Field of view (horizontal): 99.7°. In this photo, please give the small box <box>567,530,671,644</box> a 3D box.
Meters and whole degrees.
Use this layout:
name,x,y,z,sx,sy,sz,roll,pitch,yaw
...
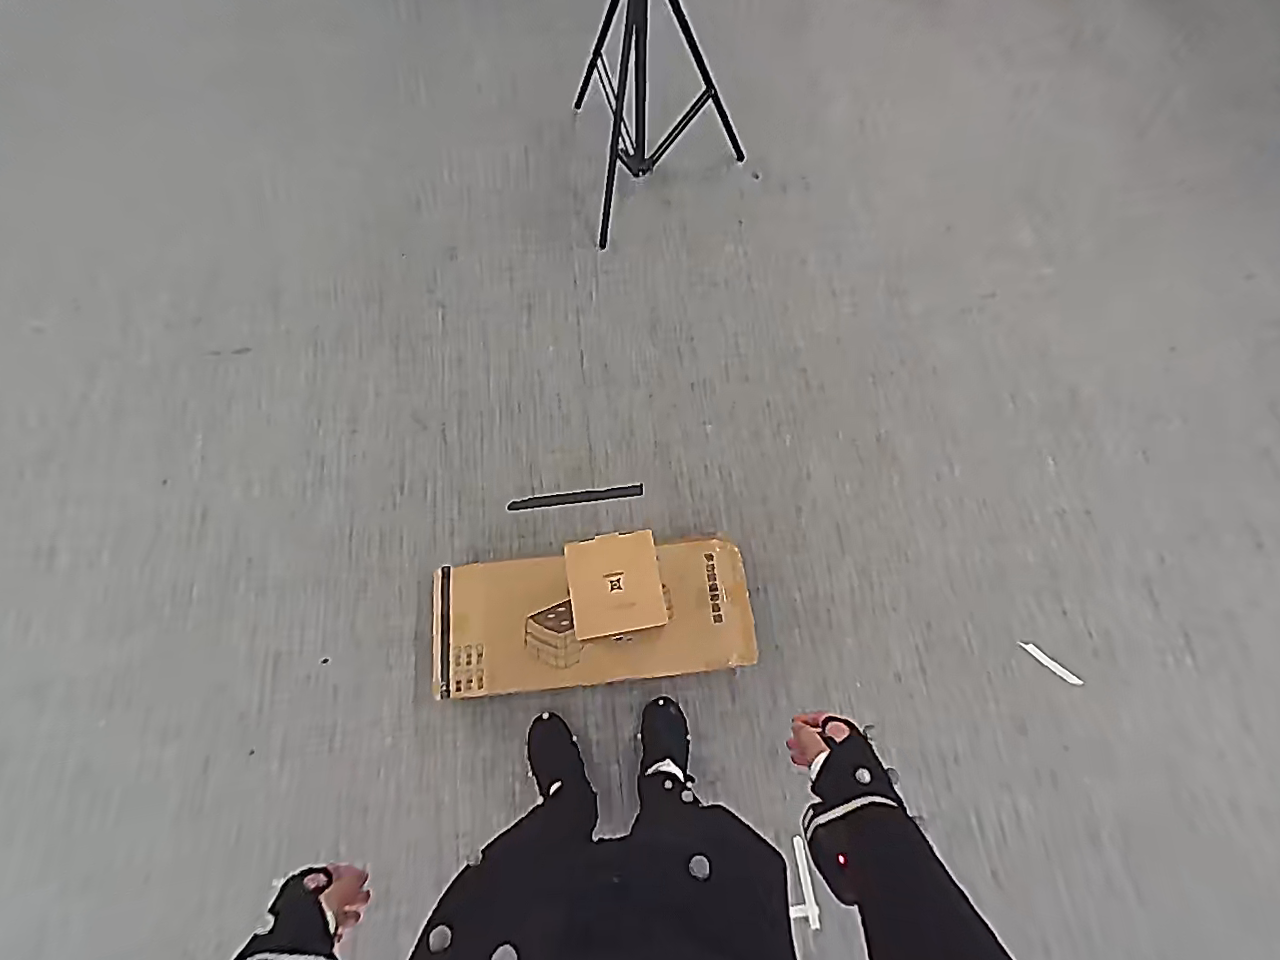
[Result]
name,x,y,z,sx,sy,sz,roll,pitch,yaw
small box,-0.041,0.211,1.039,0.168,0.176,0.179,-11,72,-3
